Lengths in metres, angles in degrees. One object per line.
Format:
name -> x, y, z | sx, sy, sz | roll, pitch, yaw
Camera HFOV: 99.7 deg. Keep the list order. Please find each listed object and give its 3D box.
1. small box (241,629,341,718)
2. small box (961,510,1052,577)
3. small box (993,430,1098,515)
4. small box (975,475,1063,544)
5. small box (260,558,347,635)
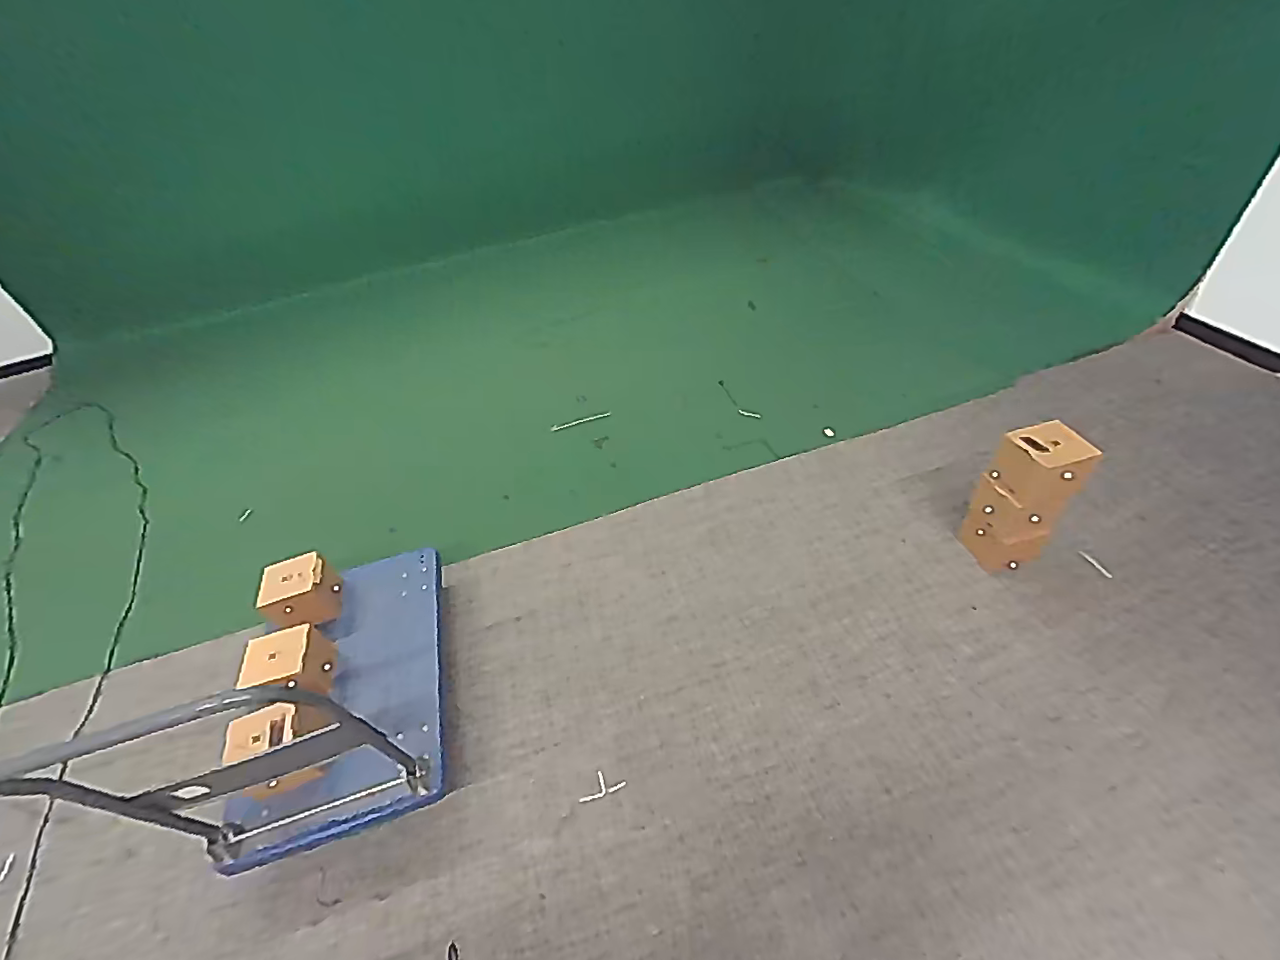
small box -> -1.026, 0.577, 1.603 | 0.179, 0.176, 0.168 | -16, 44, -7
small box -> 1.229, 0.200, 1.830 | 0.168, 0.176, 0.179 | -14, 44, -3
small box -> 1.192, -0.019, 1.612 | 0.179, 0.176, 0.168 | -15, 44, -4
small box -> 1.202, 0.082, 1.721 | 0.179, 0.176, 0.168 | -15, 44, -2
small box -> -1.111, 0.395, 1.798 | 0.179, 0.176, 0.168 | -17, 46, -7
